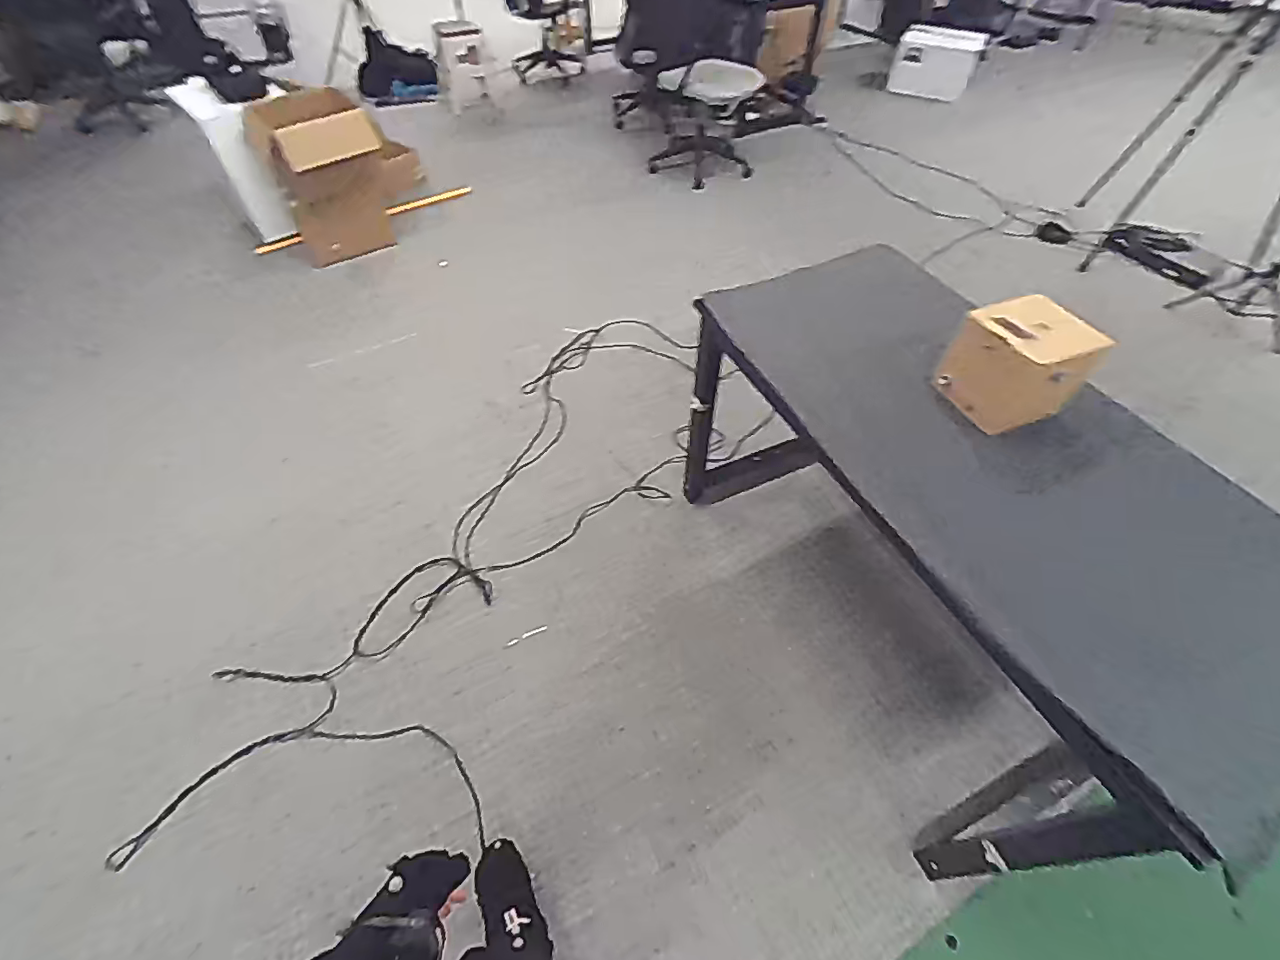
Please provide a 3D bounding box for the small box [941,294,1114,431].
[{"bbox_3d":[0.701,-0.215,1.009,0.179,0.176,0.168,-17,54,-14],"label":"small box"}]
